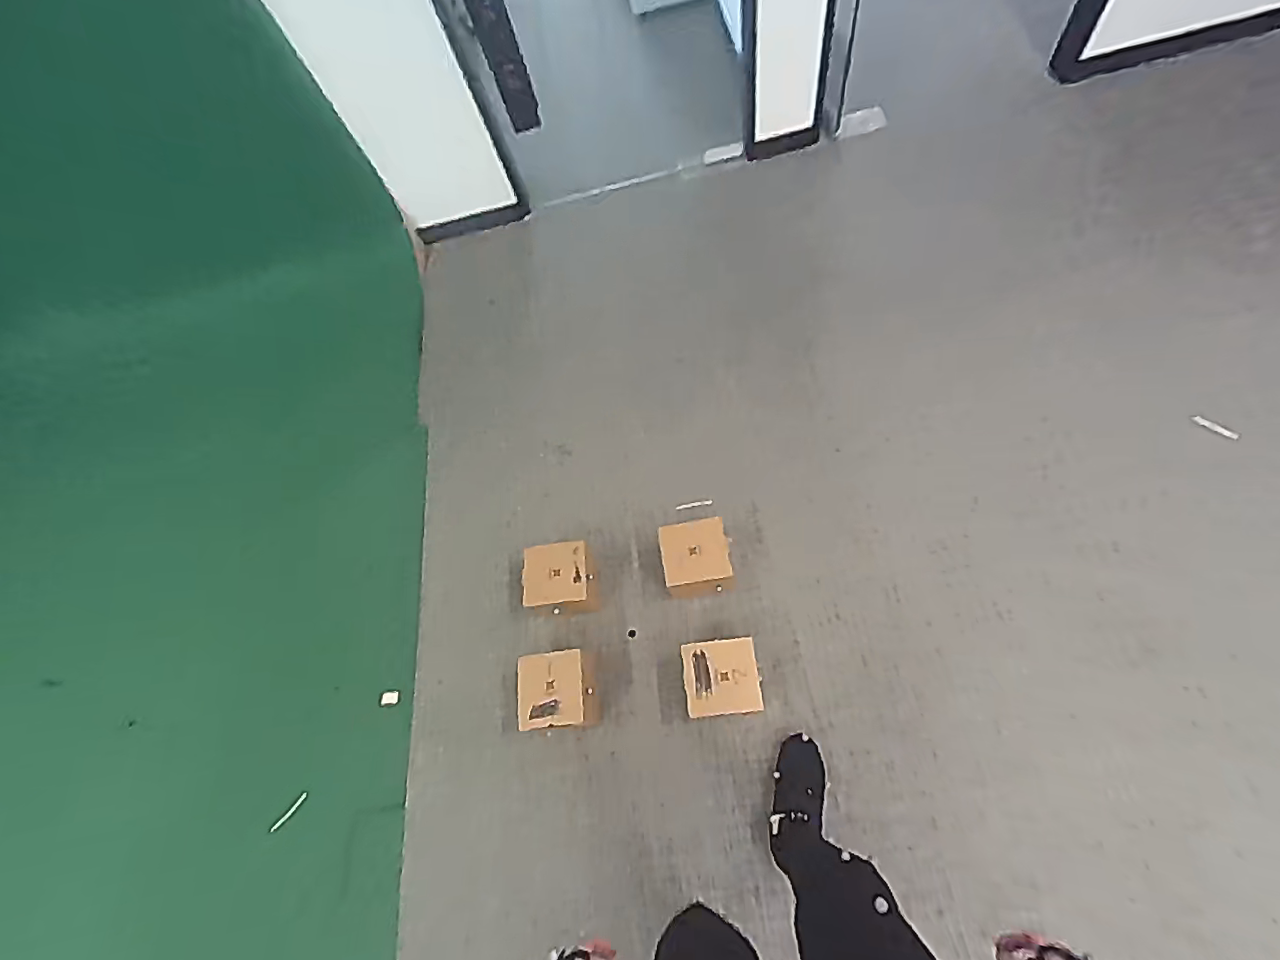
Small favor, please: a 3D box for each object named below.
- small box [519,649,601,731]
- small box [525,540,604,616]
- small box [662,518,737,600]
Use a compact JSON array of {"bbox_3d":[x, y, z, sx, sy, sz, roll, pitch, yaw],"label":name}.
[{"bbox_3d":[-0.200,0.541,1.388,0.168,0.176,0.179,-9,63,7],"label":"small box"},{"bbox_3d":[-0.206,0.279,1.511,0.179,0.176,0.168,-8,64,8],"label":"small box"},{"bbox_3d":[0.164,0.218,1.467,0.179,0.176,0.168,-10,63,7],"label":"small box"}]
